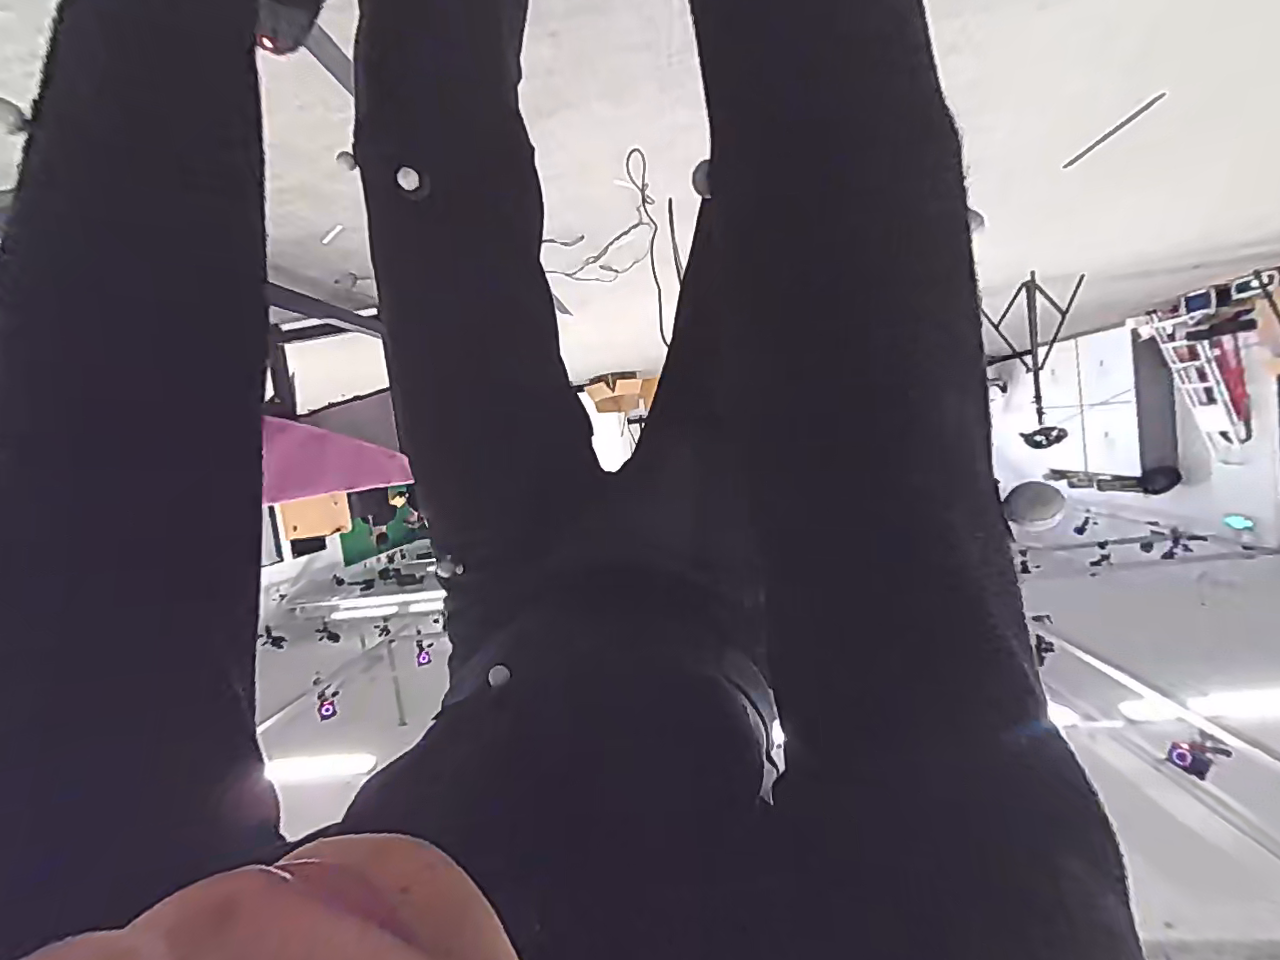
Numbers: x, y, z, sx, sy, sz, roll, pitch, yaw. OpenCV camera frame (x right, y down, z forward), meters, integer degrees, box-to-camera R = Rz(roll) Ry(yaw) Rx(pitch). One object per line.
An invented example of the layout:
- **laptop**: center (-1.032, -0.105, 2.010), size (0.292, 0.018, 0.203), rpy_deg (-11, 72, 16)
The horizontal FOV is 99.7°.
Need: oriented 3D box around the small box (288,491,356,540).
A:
- **small box**: center (-1.286, 0.137, 2.184), size (0.179, 0.176, 0.168), rpy_deg (-8, -176, 4)
